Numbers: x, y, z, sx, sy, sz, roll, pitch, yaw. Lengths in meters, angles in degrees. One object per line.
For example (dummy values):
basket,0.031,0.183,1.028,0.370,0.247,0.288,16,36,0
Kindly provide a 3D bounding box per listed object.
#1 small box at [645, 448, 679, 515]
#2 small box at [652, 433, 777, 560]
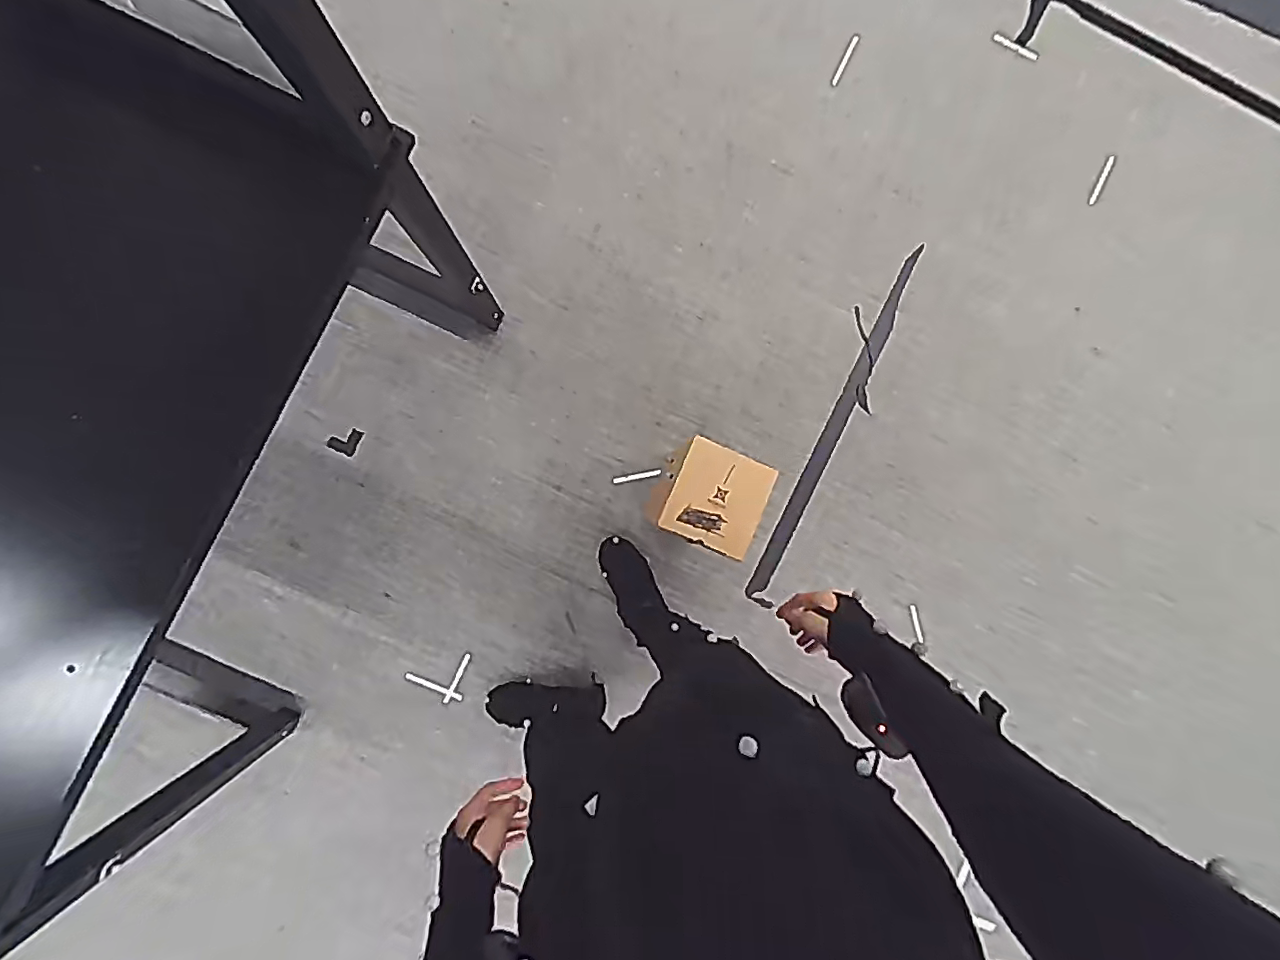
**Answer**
small box,0.119,0.034,1.349,0.168,0.176,0.179,25,88,-3
small box,0.130,0.031,1.020,0.168,0.176,0.179,24,87,-4
